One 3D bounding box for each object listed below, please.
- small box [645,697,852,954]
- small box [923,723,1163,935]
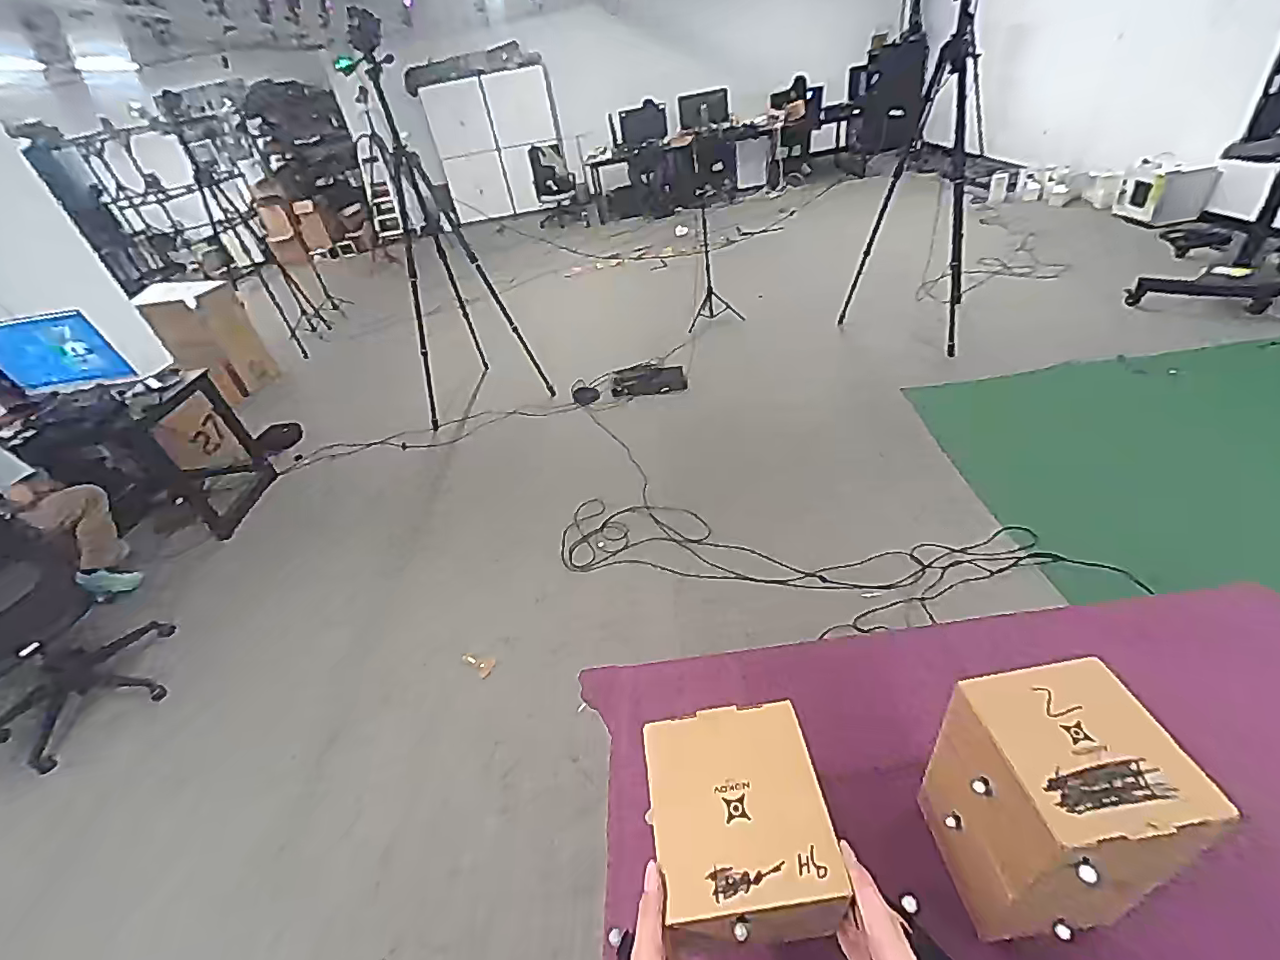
[{"bbox_3d":[0.102,0.360,0.568,0.168,0.176,0.179,-10,40,2],"label":"small box"},{"bbox_3d":[0.494,0.450,0.702,0.168,0.176,0.179,-10,37,3],"label":"small box"}]
